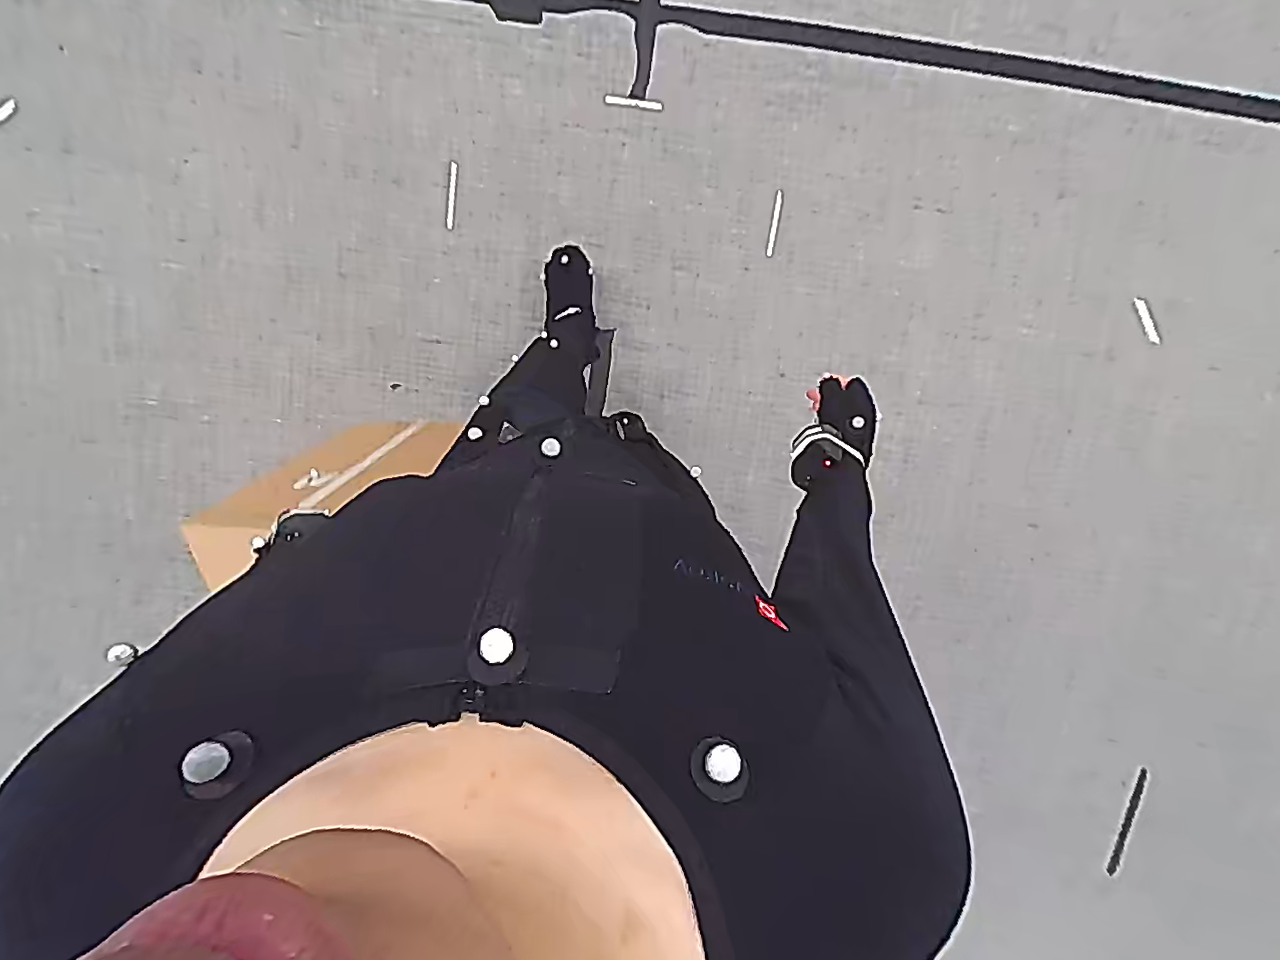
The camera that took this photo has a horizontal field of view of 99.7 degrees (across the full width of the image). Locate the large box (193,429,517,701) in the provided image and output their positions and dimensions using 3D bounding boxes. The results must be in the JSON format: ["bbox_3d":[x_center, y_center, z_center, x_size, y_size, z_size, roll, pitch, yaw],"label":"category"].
[{"bbox_3d":[-0.445,0.124,0.971,0.320,0.408,0.320,-1,116,8],"label":"large box"}]
